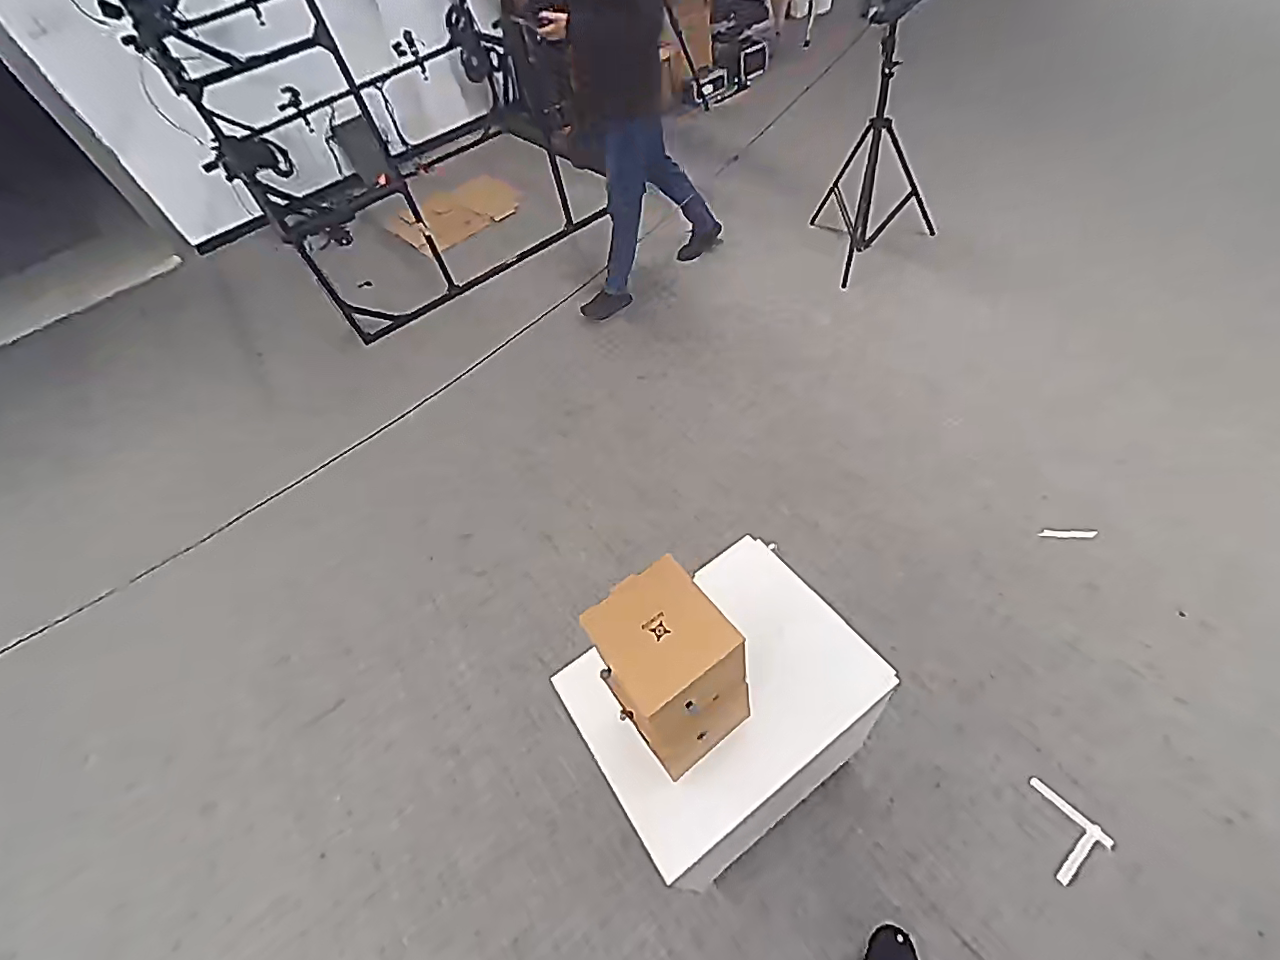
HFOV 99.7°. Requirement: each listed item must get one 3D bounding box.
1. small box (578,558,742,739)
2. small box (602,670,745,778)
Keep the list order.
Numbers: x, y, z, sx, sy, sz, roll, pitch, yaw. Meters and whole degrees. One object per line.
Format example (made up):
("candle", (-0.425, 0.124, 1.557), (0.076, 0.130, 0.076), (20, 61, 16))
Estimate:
("small box", (0.038, 0.256, 0.803), (0.168, 0.176, 0.179), (-34, 52, -15))
("small box", (0.064, 0.369, 0.917), (0.179, 0.176, 0.168), (-35, 53, -16))
